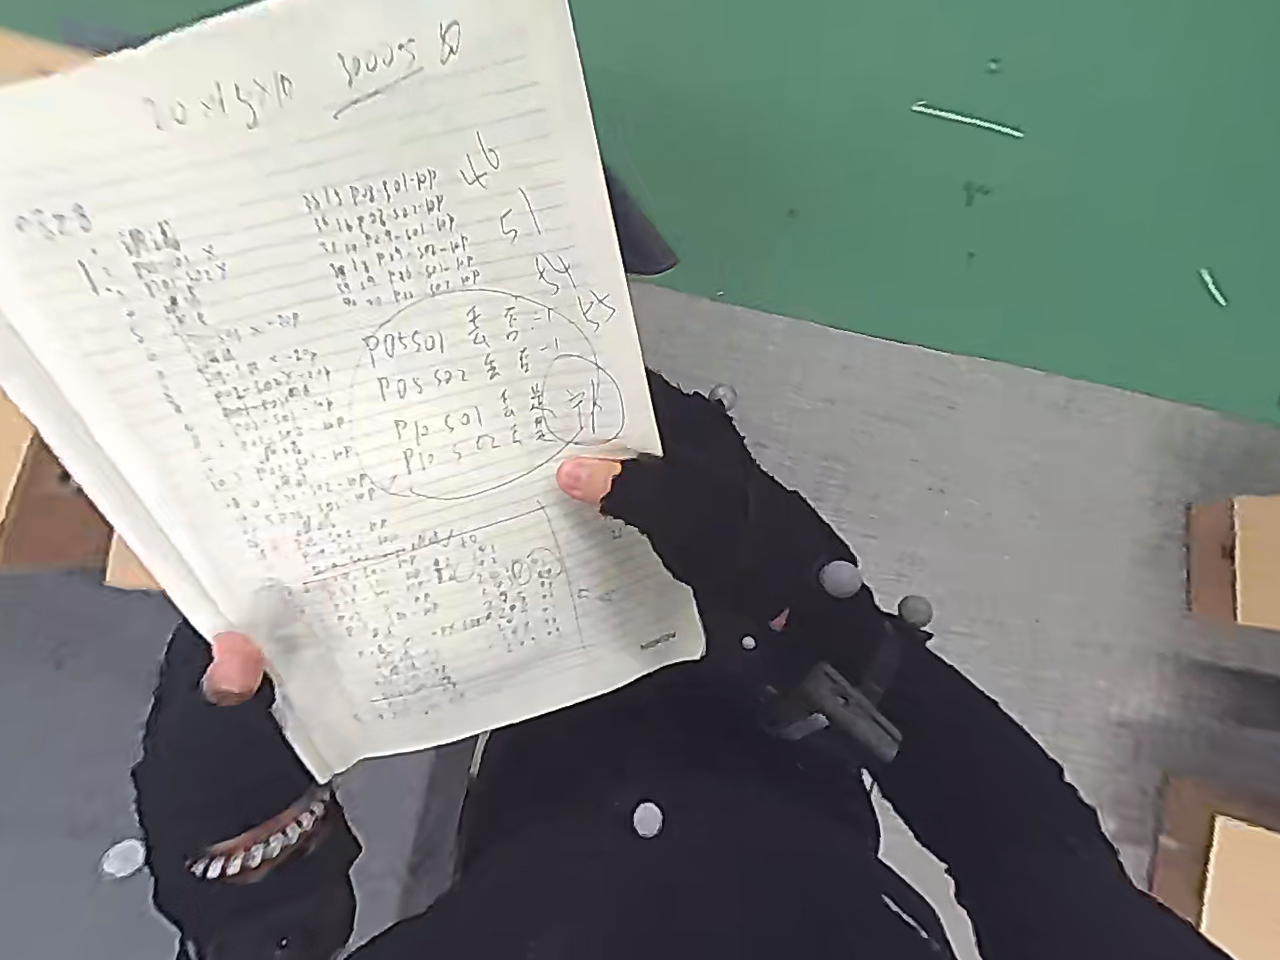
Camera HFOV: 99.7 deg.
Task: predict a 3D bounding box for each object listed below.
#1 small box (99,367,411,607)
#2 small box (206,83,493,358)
[{"bbox_3d":[-0.338,0.011,0.515,0.168,0.176,0.179,9,84,-3],"label":"small box"},{"bbox_3d":[-0.267,-0.239,0.544,0.179,0.176,0.168,15,84,-3],"label":"small box"}]
